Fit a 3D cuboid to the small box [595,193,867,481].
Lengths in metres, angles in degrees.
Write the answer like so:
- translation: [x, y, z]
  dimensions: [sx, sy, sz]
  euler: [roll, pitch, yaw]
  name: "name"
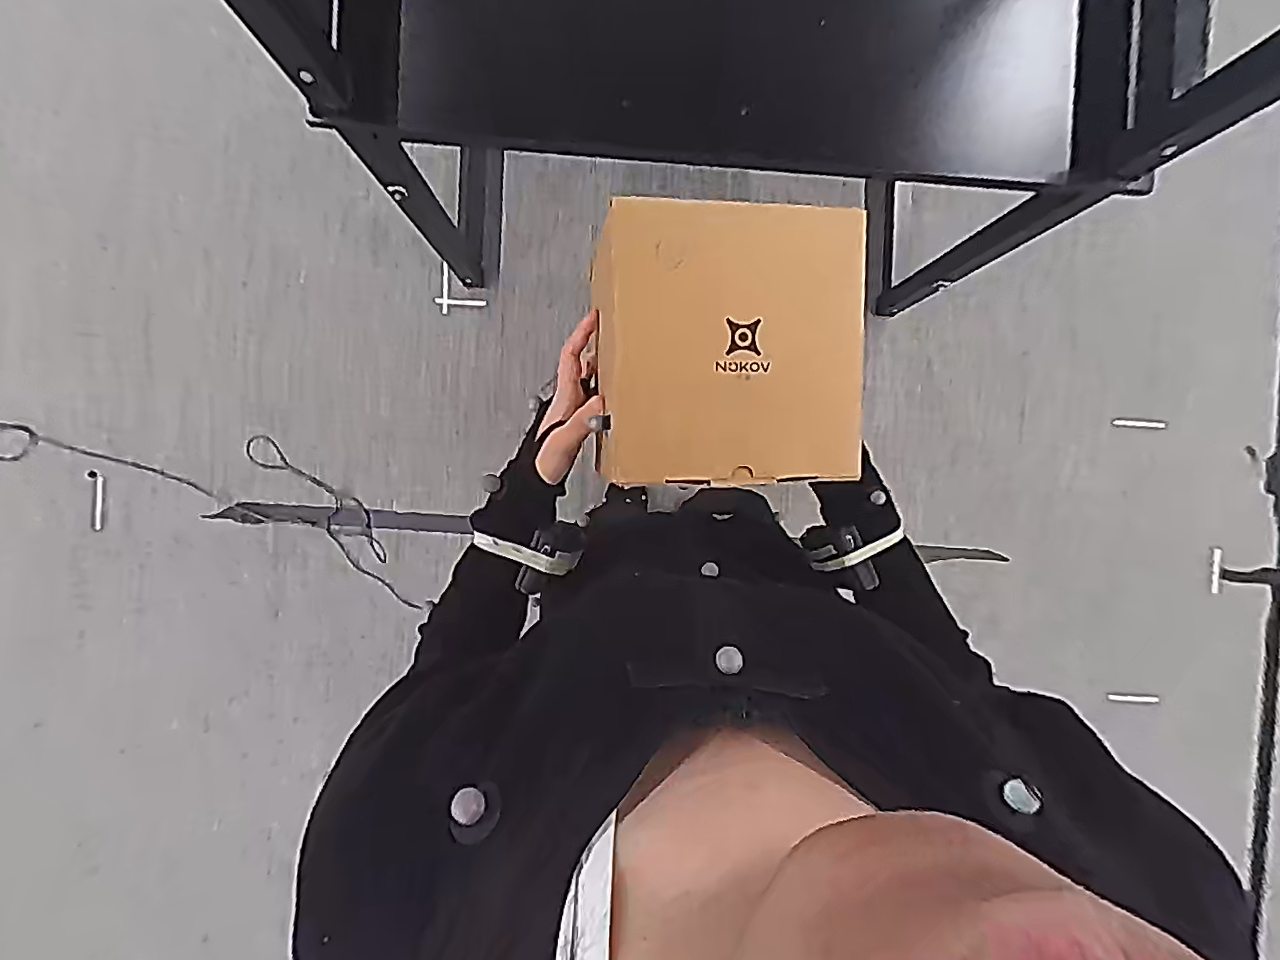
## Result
- translation: [0.053, -0.092, 0.419]
  dimensions: [0.168, 0.176, 0.179]
  euler: [-2, 95, -8]
  name: "small box"
